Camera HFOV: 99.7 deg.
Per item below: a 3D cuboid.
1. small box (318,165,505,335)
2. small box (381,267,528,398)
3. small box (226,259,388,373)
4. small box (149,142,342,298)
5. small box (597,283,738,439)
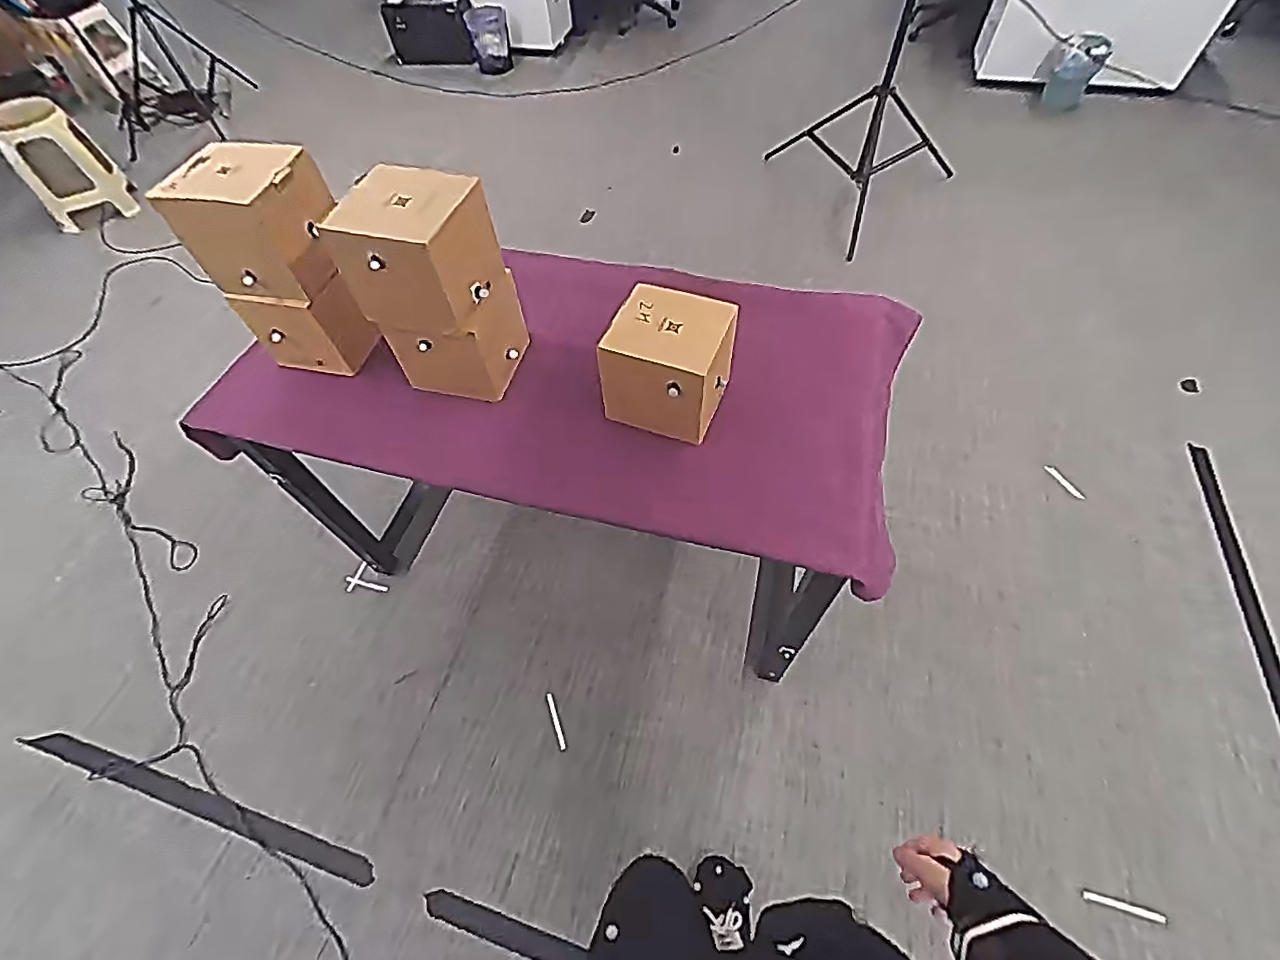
[{"bbox_3d":[-0.332,-0.346,0.826,0.179,0.176,0.168,13,60,10],"label":"small box"},{"bbox_3d":[-0.321,-0.268,0.968,0.179,0.176,0.168,11,58,9],"label":"small box"},{"bbox_3d":[-0.606,-0.324,1.019,0.168,0.176,0.179,9,57,9],"label":"small box"},{"bbox_3d":[-0.616,-0.420,0.887,0.179,0.176,0.168,8,57,7],"label":"small box"},{"bbox_3d":[0.048,-0.191,0.898,0.179,0.176,0.168,18,59,14],"label":"small box"}]
